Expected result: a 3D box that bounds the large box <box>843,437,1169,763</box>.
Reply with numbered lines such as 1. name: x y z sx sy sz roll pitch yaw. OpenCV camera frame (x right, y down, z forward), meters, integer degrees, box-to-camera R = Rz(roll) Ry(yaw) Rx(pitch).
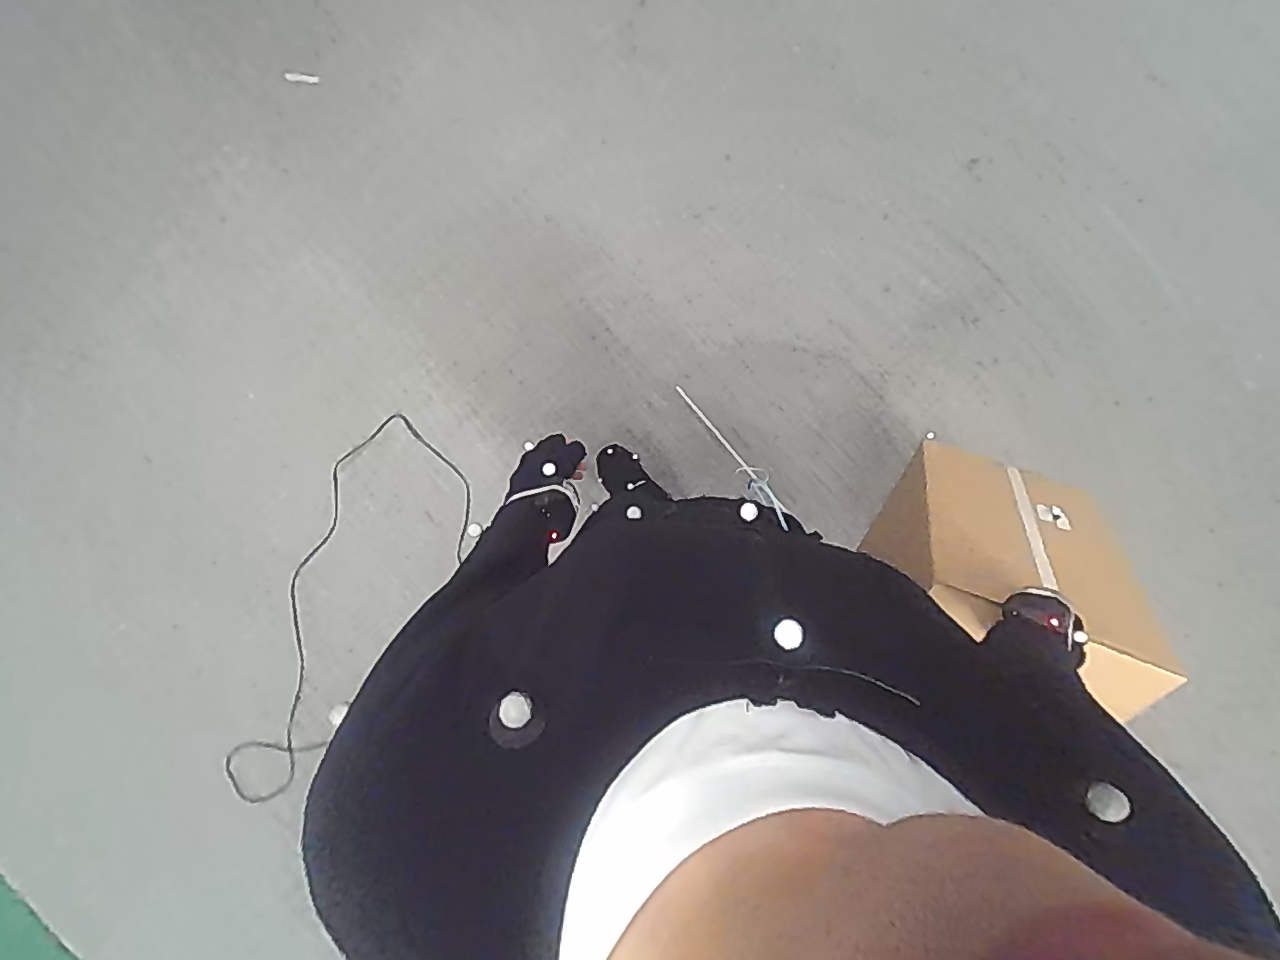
1. large box: 0.570 0.189 0.948 0.320 0.408 0.320 21 128 10
